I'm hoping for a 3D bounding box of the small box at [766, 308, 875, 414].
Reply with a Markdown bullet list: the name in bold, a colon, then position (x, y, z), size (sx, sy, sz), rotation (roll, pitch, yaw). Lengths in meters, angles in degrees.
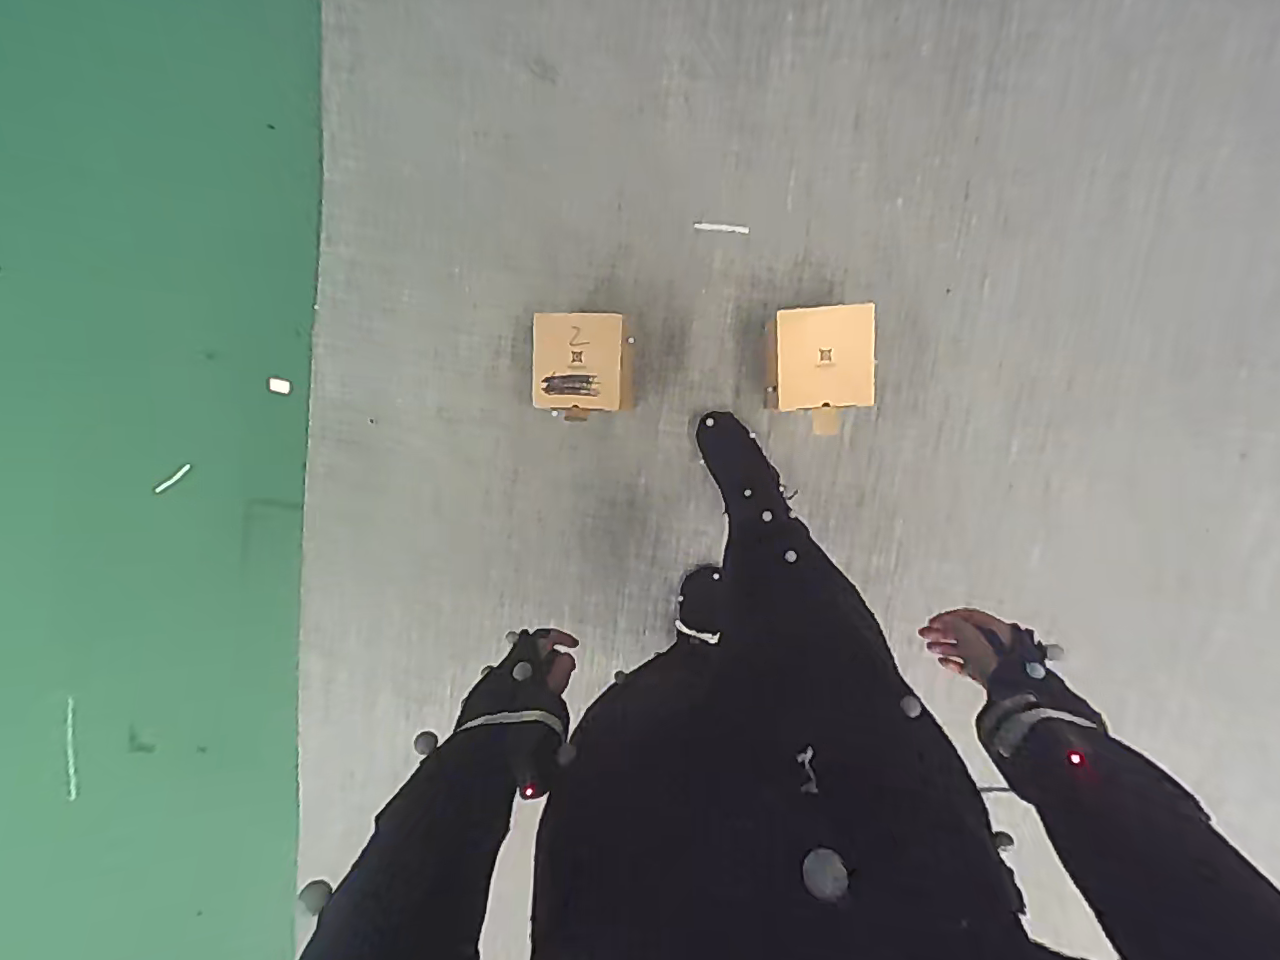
- **small box**: position (0.331, -0.215, 1.016), size (0.168, 0.176, 0.179), rotation (-2, 98, 7)
